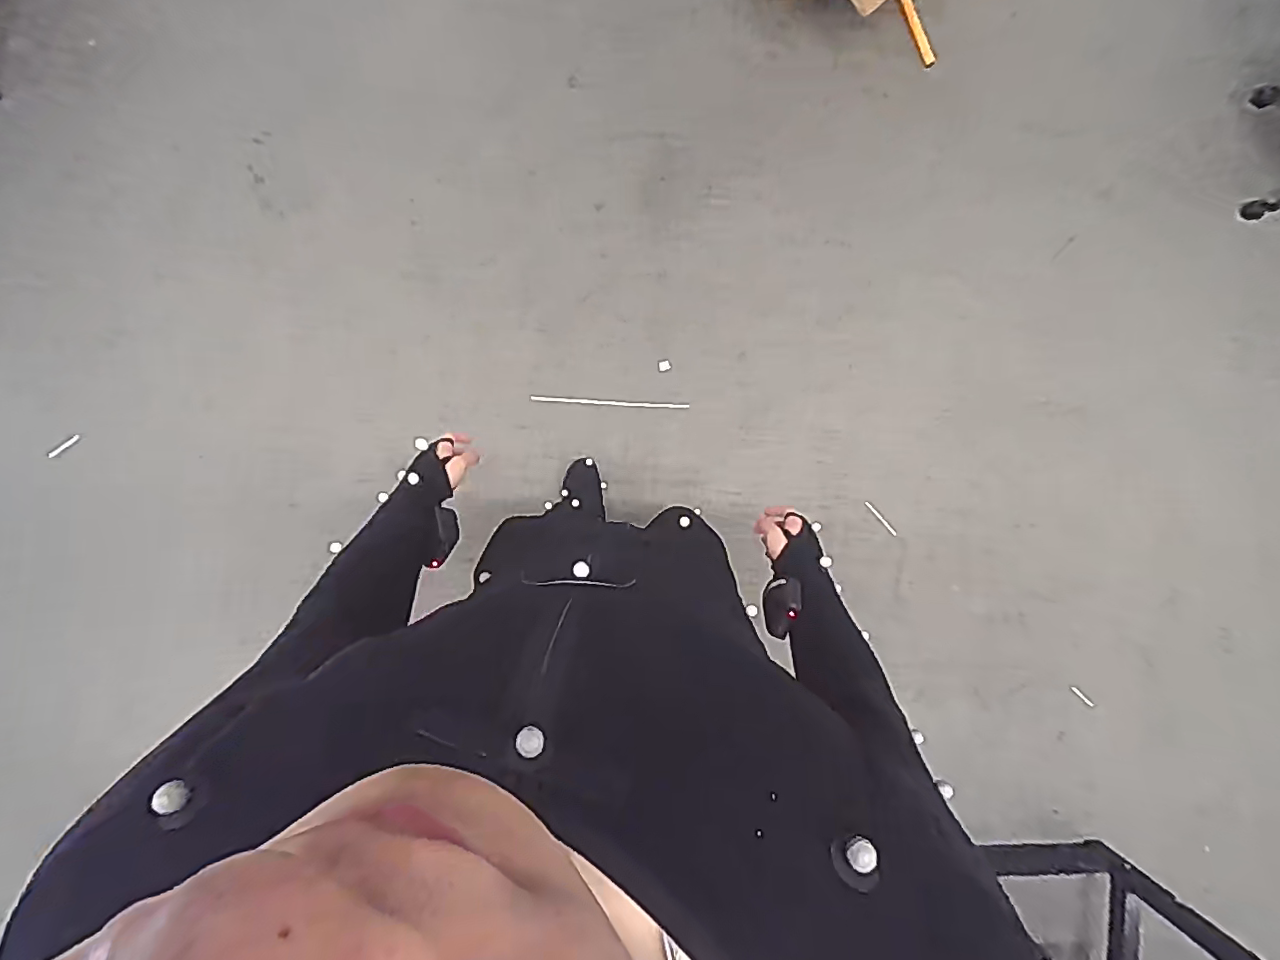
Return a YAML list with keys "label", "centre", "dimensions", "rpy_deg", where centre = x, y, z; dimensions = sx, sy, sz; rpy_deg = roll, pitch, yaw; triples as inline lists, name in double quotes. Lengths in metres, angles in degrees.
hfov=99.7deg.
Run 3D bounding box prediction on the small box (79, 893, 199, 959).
- label: "small box"
  centre: [-1.317, 1.234, 1.426]
  dimensions: [0.179, 0.176, 0.168]
  rpy_deg: [8, 90, -3]
